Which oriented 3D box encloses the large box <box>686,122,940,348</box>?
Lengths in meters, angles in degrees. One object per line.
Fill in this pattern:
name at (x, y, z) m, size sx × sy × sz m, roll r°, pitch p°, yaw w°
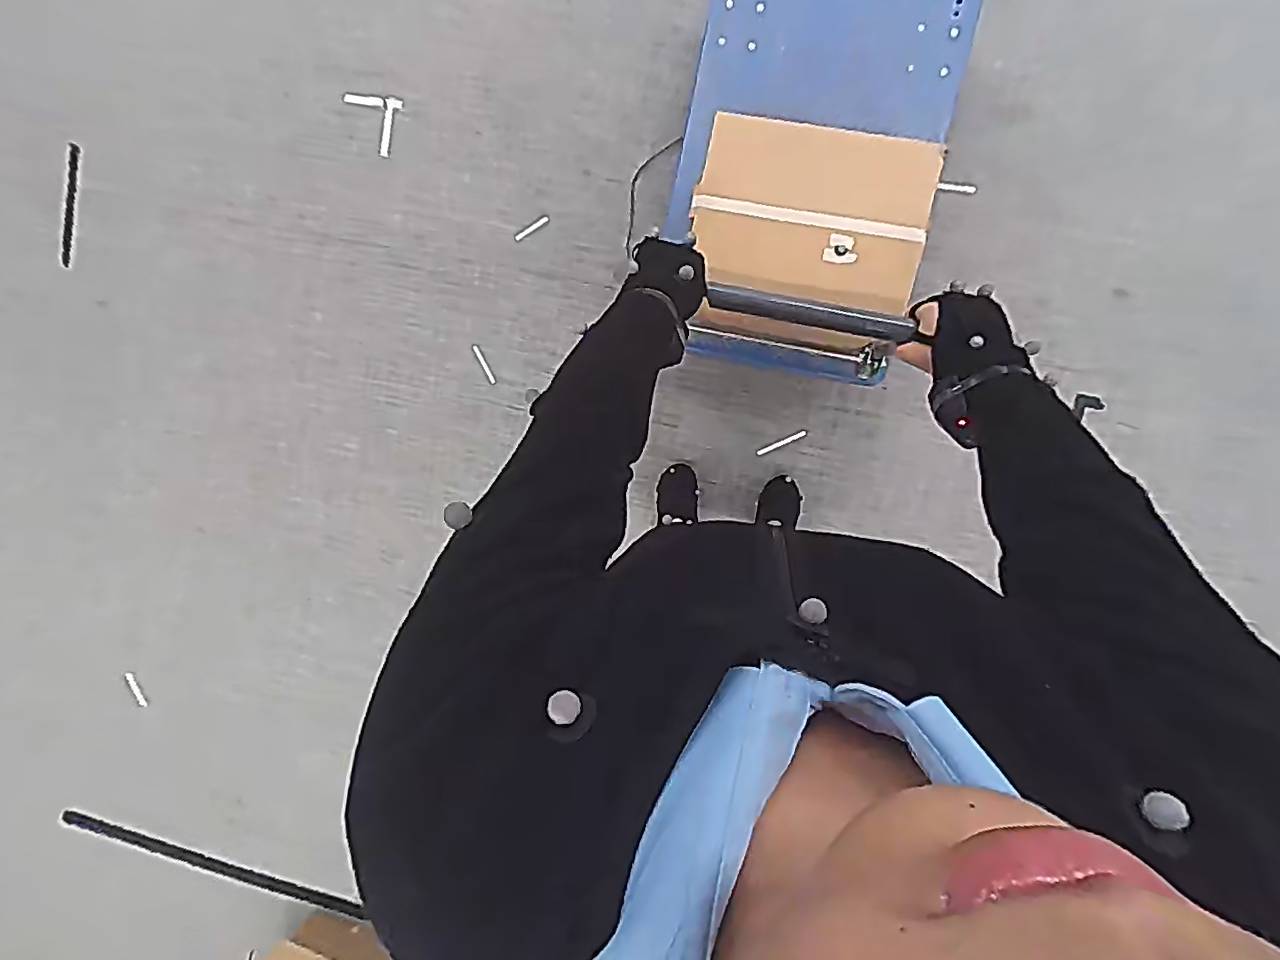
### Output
large box at (0.320, -0.479, 1.125) m, size 0.408 × 0.320 × 0.320 m, roll 12°, pitch 97°, yaw 5°
